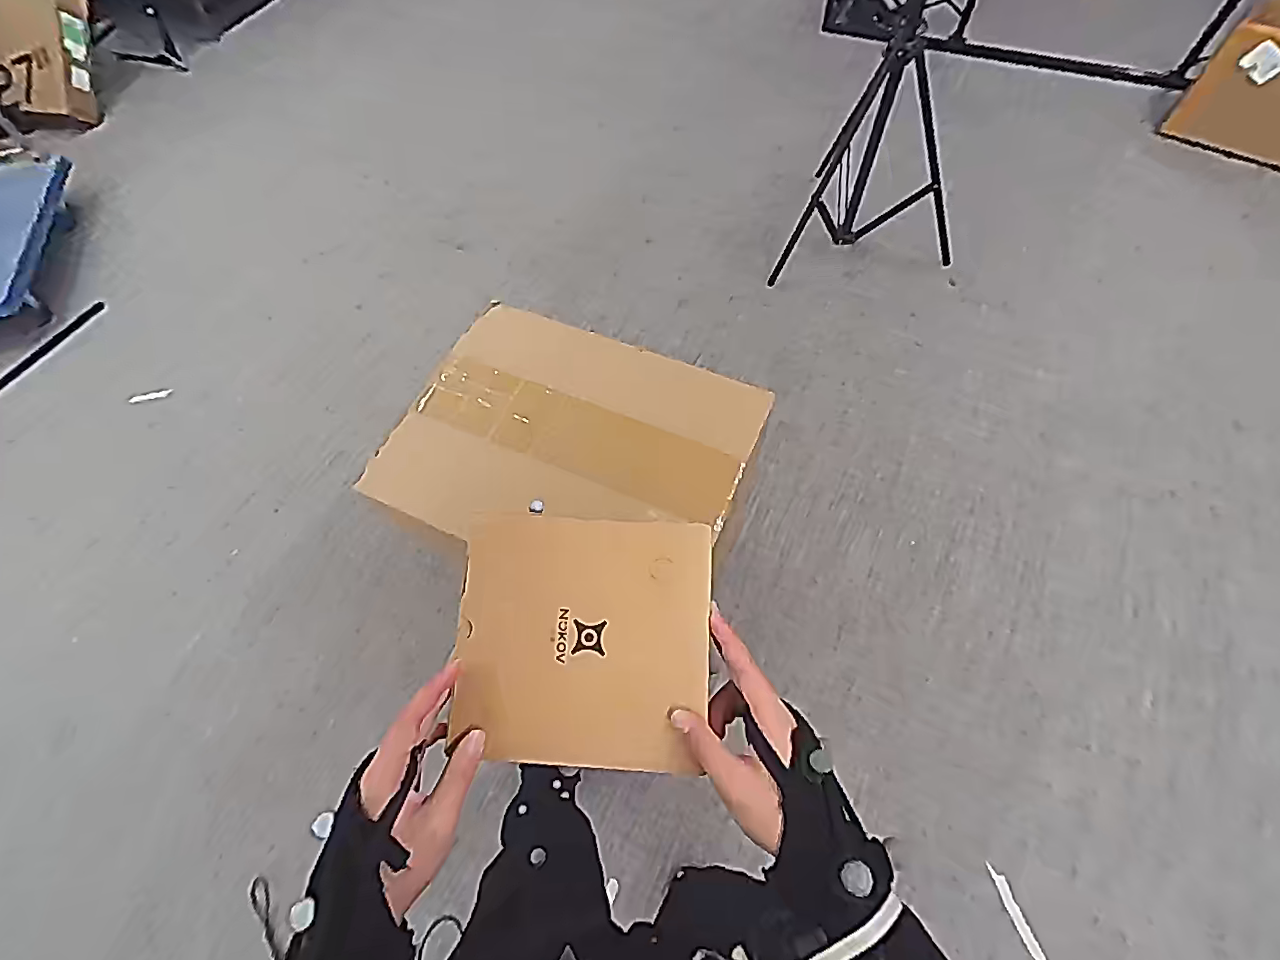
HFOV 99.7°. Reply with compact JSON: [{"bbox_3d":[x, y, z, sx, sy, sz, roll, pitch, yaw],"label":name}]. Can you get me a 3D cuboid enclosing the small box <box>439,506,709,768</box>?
[{"bbox_3d":[-0.041,0.120,0.452,0.179,0.176,0.168,3,78,3],"label":"small box"}]
